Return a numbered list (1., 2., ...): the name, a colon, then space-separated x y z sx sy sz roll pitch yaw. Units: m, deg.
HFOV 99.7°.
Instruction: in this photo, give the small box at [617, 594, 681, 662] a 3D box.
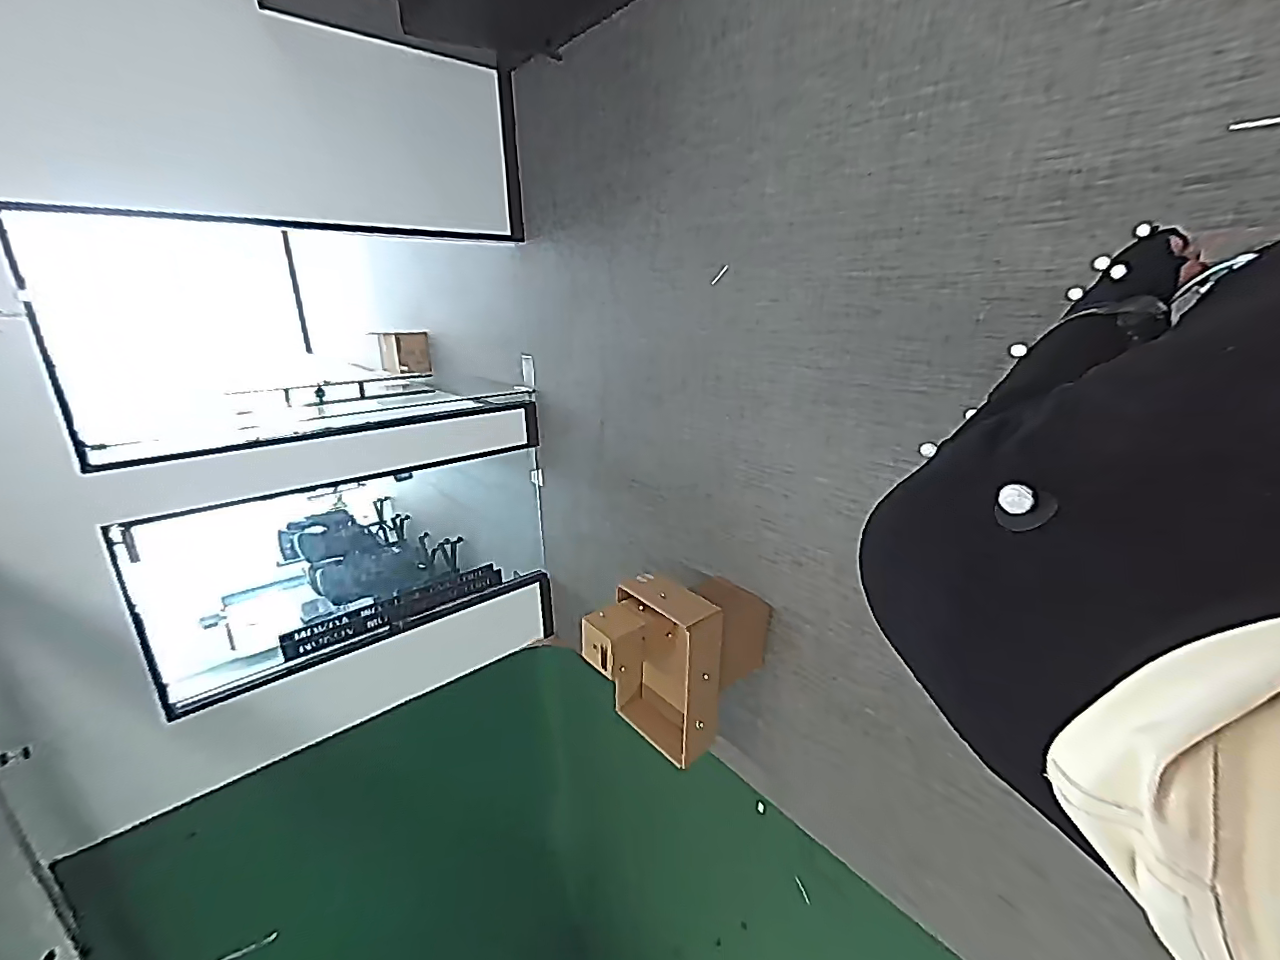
1. small box: 0.033 0.552 2.055 0.179 0.176 0.168 22 117 45
